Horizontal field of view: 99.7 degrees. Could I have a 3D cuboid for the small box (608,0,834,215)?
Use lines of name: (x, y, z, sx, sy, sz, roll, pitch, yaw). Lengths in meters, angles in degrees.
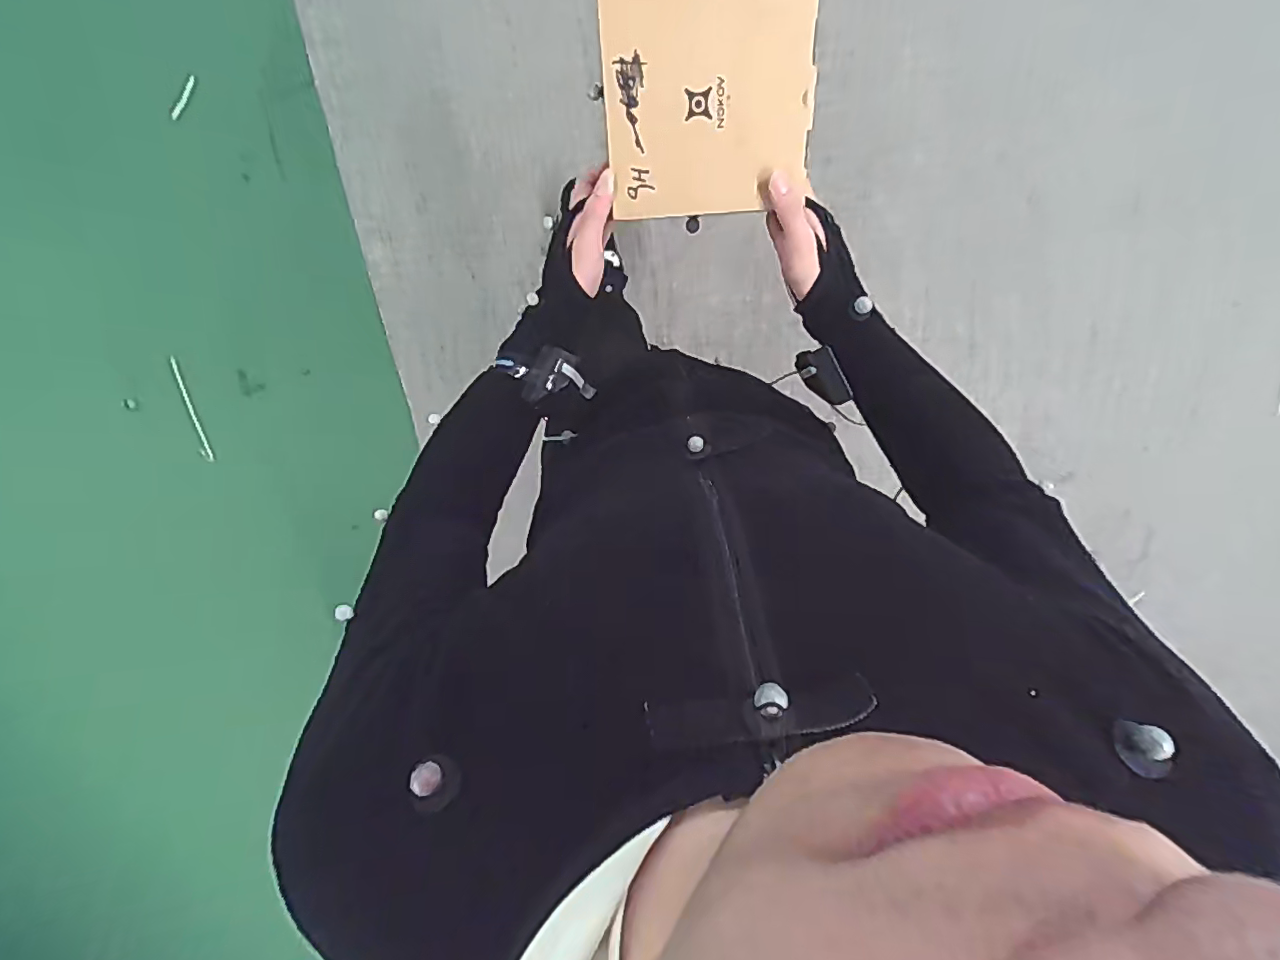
small box: (0.061, -0.347, 0.514, 0.179, 0.176, 0.168, -3, 115, -1)
